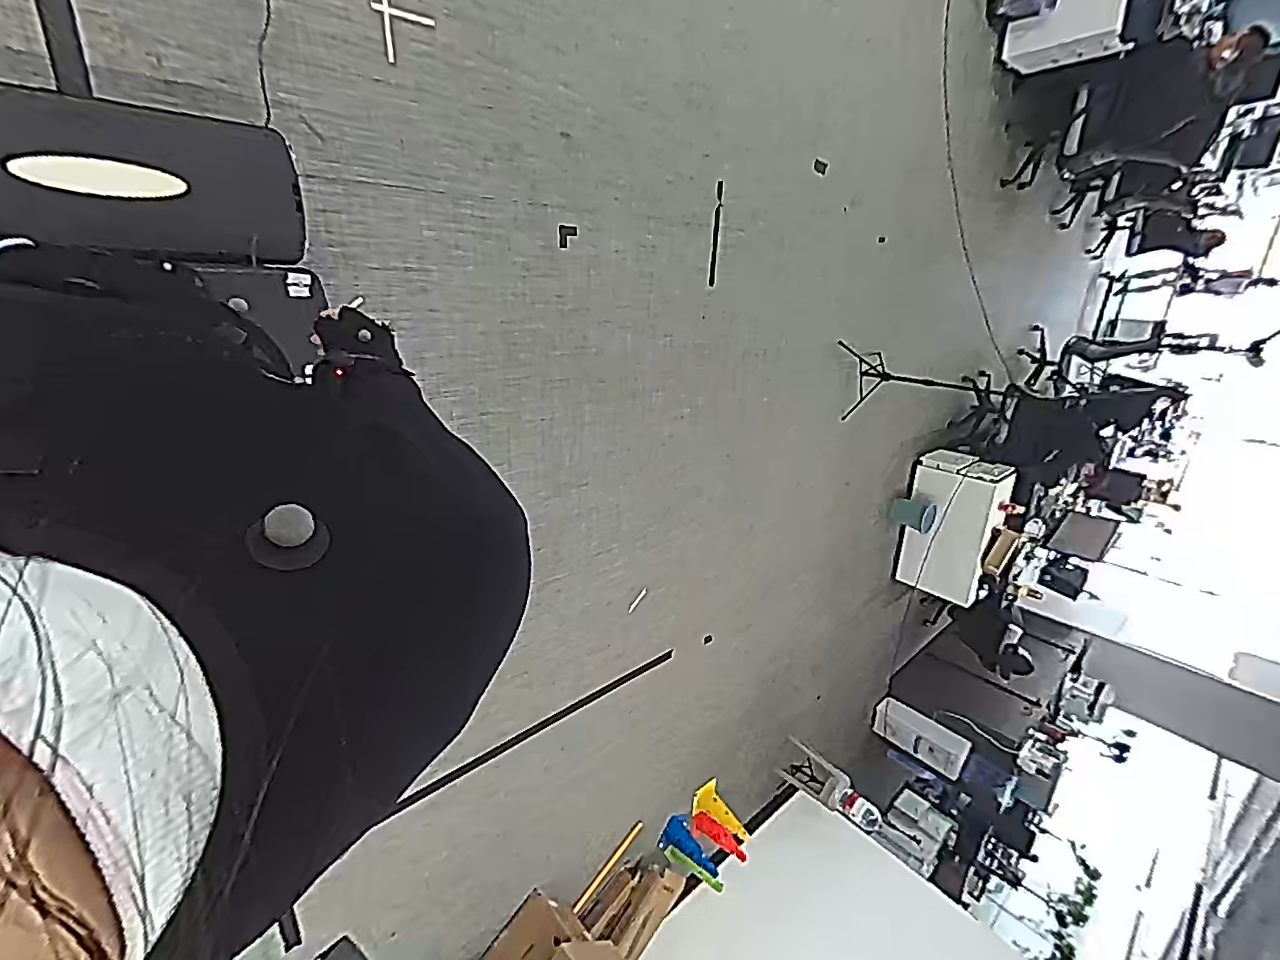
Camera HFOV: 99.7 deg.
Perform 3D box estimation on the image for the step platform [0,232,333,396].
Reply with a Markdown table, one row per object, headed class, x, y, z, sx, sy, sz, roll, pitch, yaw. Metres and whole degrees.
| class | x | y | z | sx | sy | sz | roll | pitch | yaw |
| --- | --- | --- | --- | --- | --- | --- | --- | --- | --- |
| step platform | -1.028 | -0.345 | 1.118 | 0.684 | 0.204 | 0.286 | -15 | 115 | -37 |
